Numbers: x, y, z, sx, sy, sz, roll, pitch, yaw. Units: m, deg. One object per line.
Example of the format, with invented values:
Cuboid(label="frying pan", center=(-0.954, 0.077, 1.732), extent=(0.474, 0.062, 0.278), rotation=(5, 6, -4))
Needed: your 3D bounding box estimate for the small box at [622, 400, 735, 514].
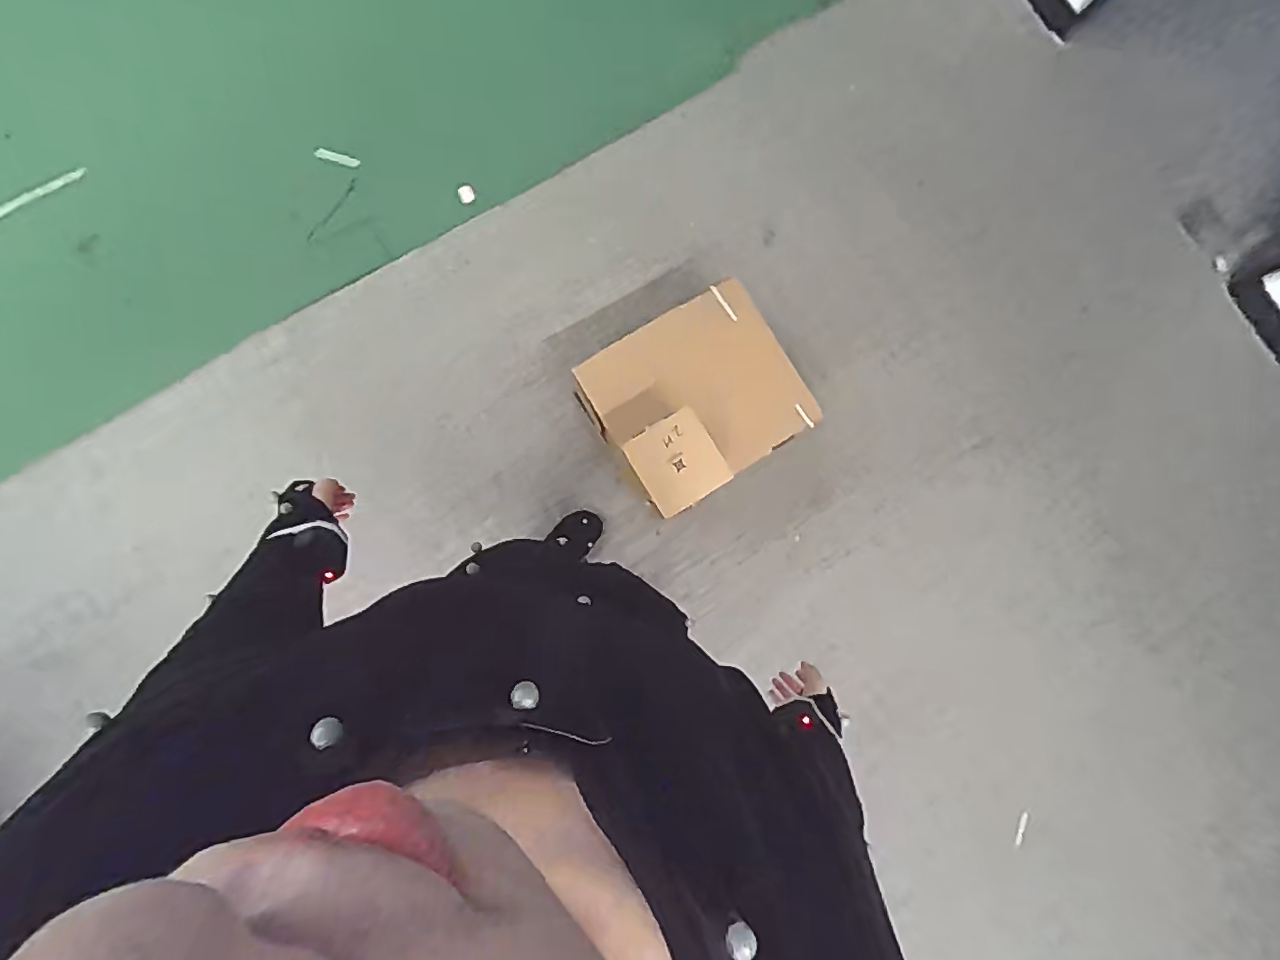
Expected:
Cuboid(label="small box", center=(0.073, -0.044, 1.141), extent=(0.168, 0.176, 0.179), rotation=(-30, 89, -5))
